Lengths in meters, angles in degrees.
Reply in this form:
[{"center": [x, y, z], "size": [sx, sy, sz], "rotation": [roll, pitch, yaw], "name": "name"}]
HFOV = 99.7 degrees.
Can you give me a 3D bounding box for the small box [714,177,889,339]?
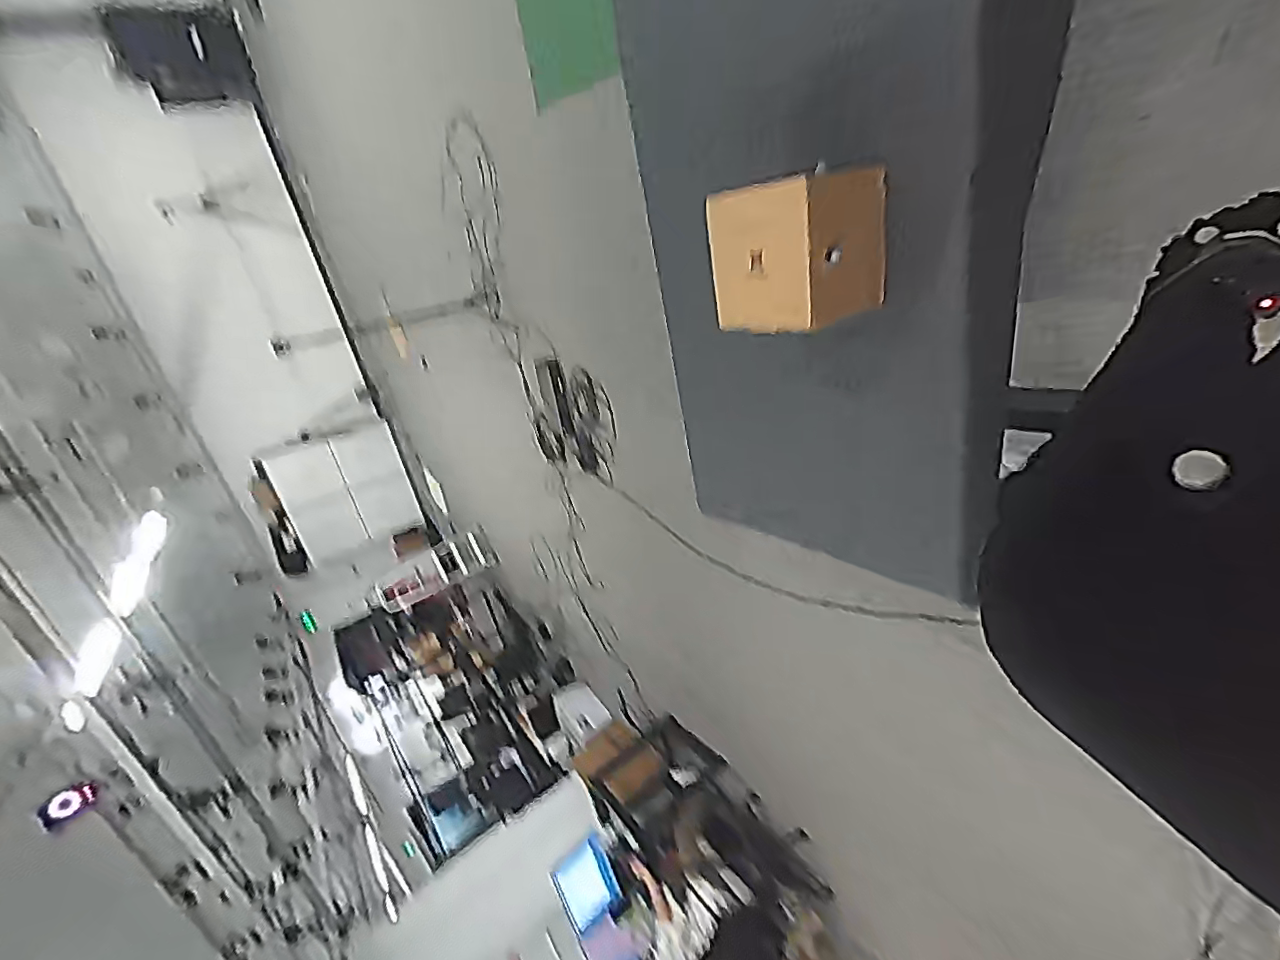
[{"center": [0.229, -0.306, 0.760], "size": [0.168, 0.176, 0.179], "rotation": [20, 127, 52], "name": "small box"}]
